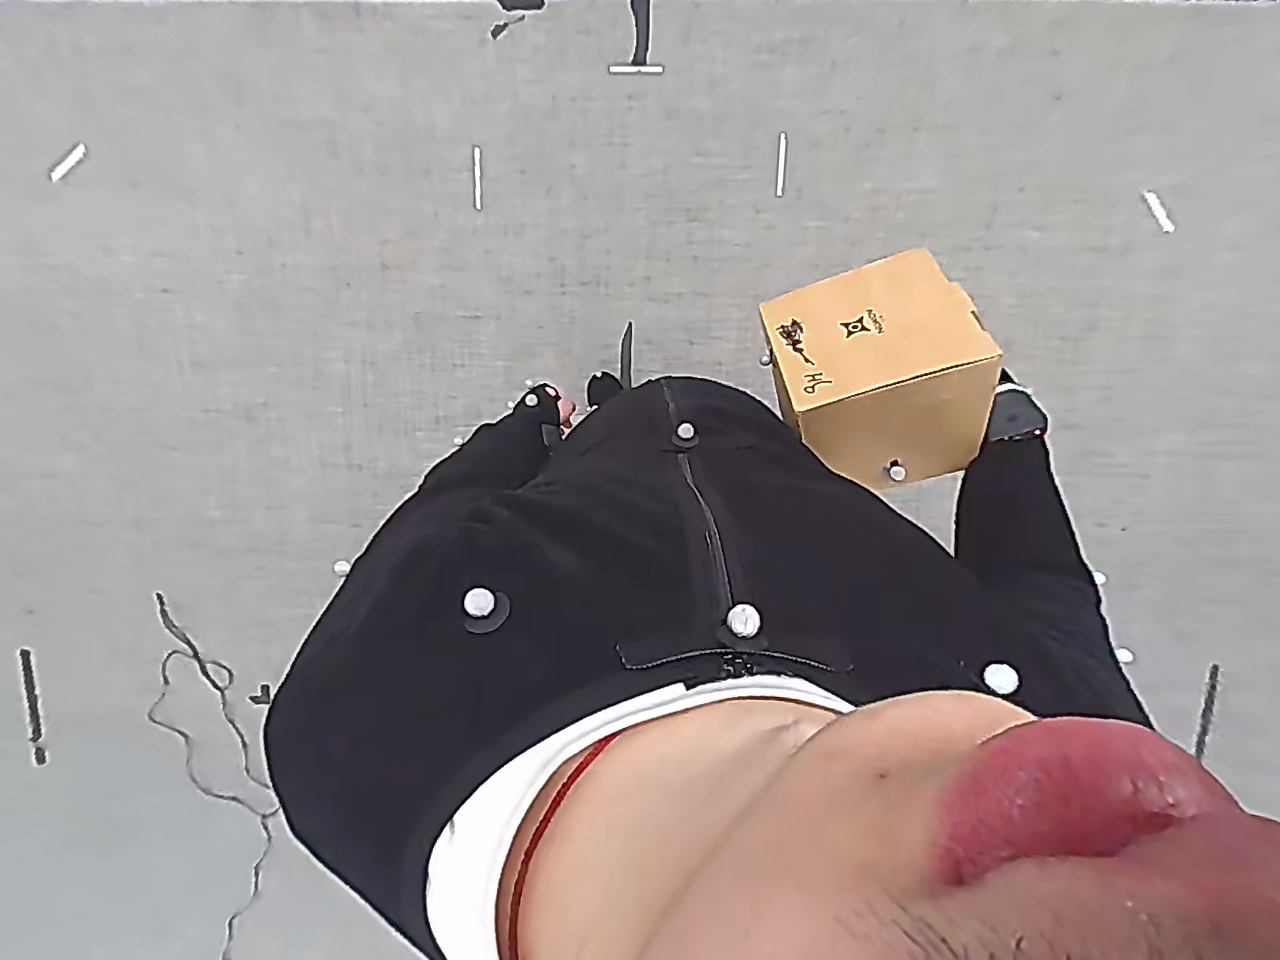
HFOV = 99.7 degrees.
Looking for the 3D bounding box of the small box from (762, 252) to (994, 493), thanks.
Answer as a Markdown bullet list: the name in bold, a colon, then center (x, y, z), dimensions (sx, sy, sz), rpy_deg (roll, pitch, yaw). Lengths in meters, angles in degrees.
- **small box**: center (0.247, -0.109, 0.596), dimensions (0.179, 0.168, 0.176), rpy_deg (-15, 142, 13)
